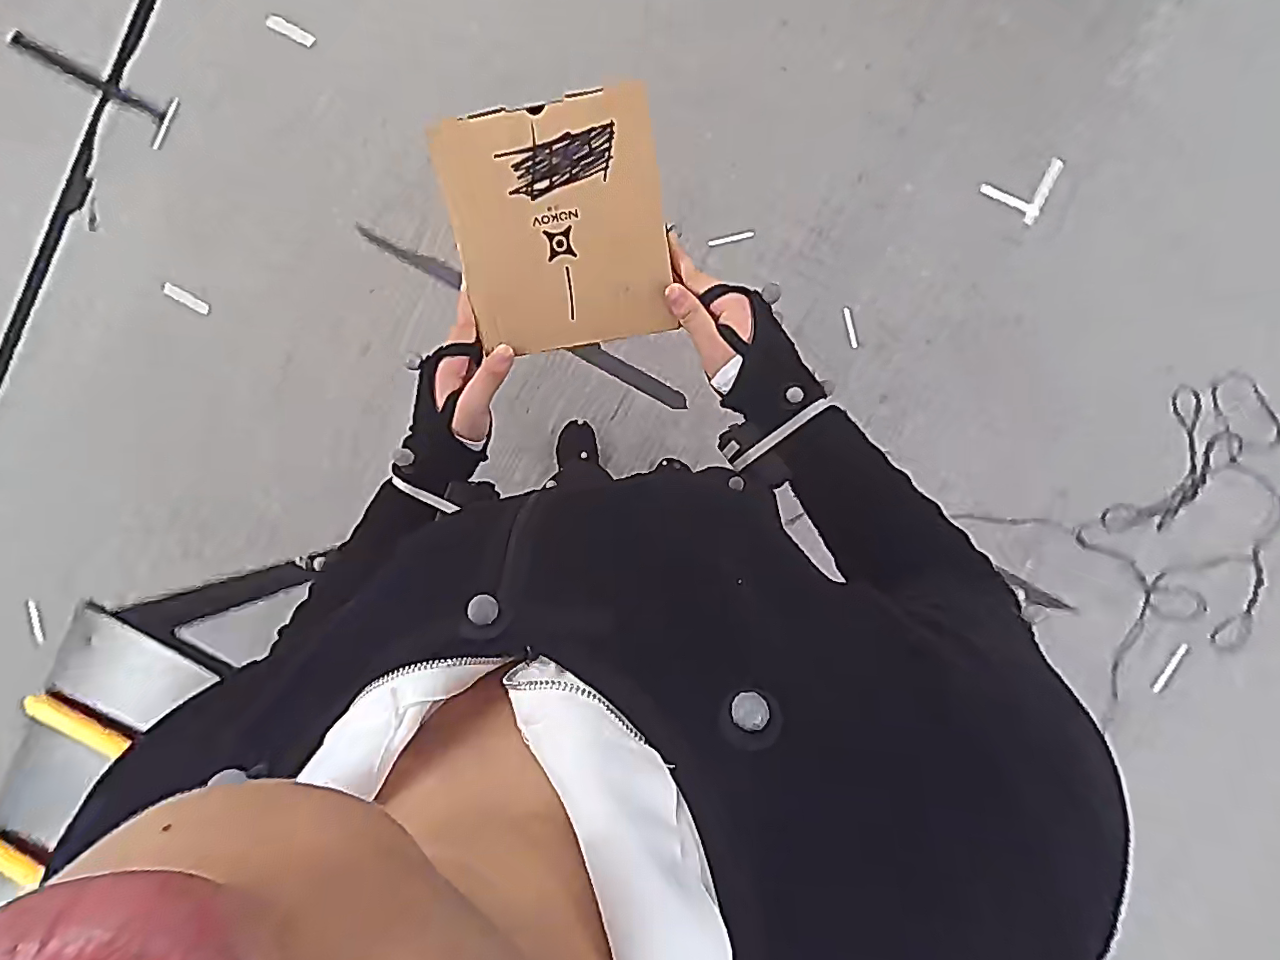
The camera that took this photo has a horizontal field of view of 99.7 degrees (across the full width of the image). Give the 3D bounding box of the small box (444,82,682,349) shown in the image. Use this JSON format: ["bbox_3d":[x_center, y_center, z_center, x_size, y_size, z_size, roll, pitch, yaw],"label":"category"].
[{"bbox_3d":[-0.053,-0.223,0.496,0.168,0.176,0.179,-6,109,5],"label":"small box"}]
